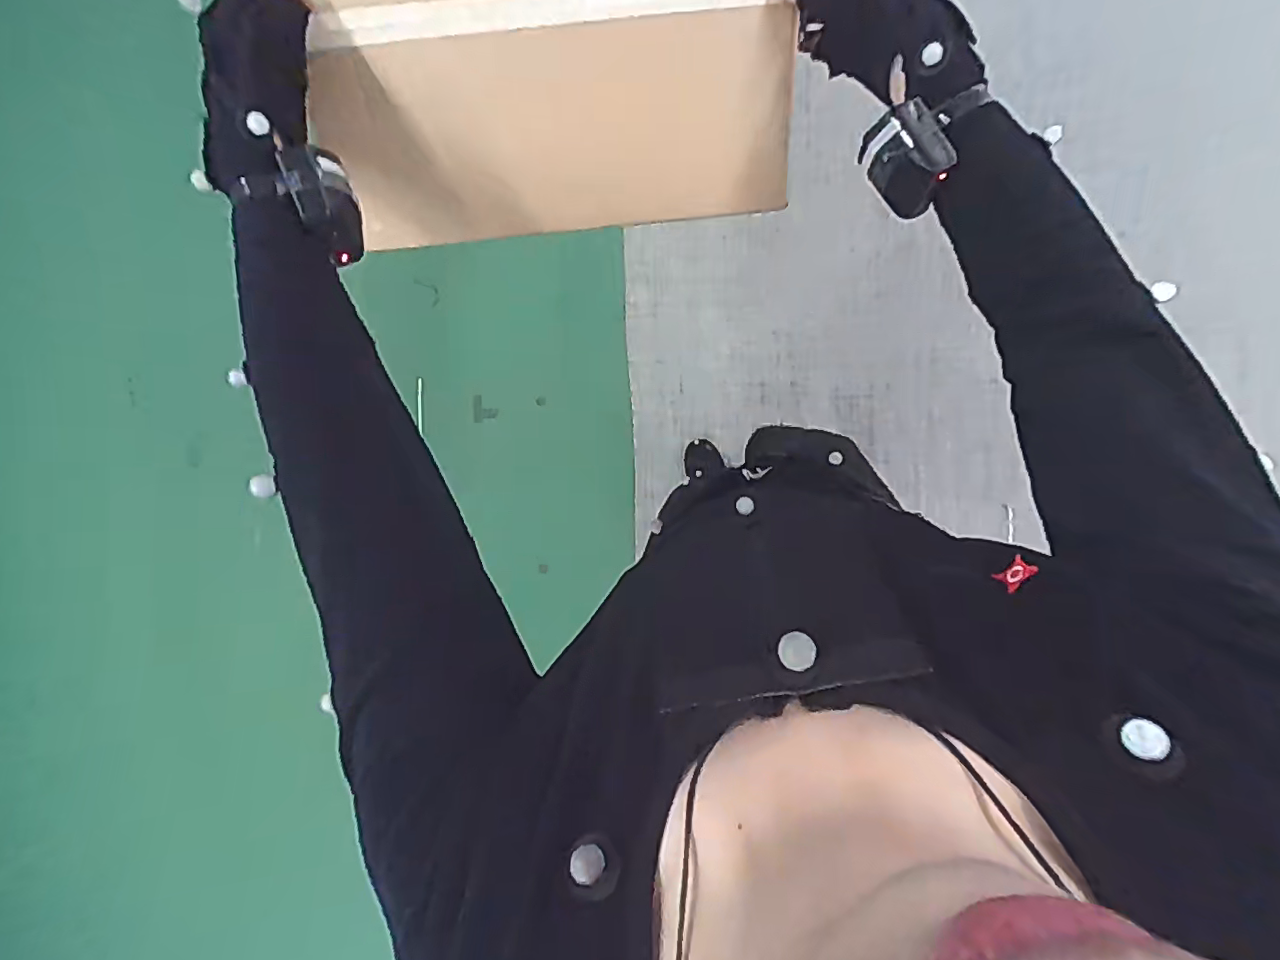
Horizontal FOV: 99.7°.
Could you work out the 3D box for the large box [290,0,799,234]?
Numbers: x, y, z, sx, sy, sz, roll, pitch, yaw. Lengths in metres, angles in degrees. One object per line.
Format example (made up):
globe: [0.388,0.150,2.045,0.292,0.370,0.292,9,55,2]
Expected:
large box: [-0.077,-0.458,0.544,0.408,0.320,0.320,-5,123,0]
